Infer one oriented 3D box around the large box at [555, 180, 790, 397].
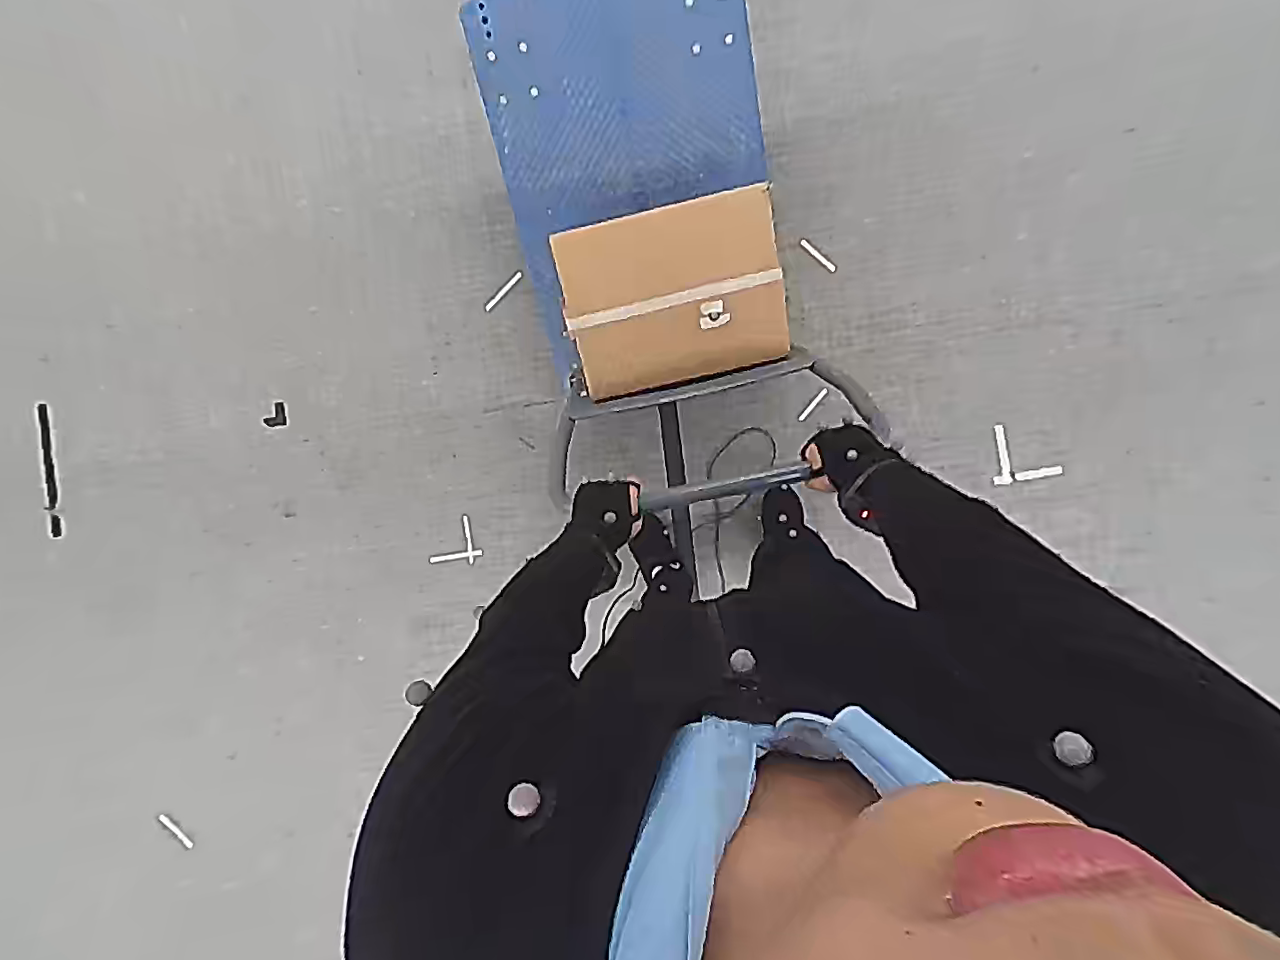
[{"bbox_3d":[0.065,-0.401,1.170,0.408,0.320,0.320,-13,110,3],"label":"large box"}]
